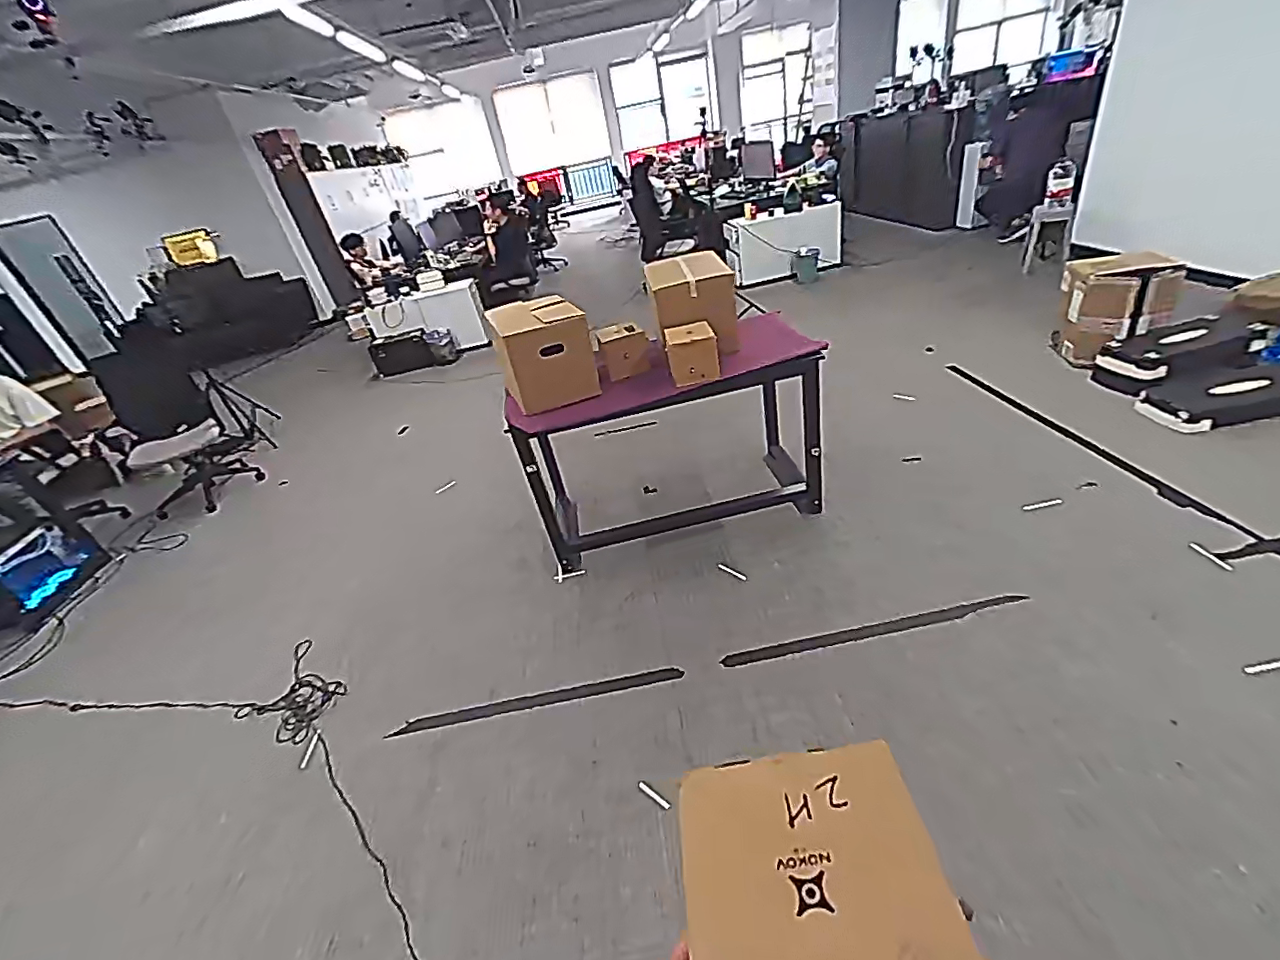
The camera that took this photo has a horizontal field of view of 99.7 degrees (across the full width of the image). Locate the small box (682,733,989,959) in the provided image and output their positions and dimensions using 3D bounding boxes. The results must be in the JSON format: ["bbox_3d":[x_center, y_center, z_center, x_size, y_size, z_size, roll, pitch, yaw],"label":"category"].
[{"bbox_3d":[0.130,0.318,0.383,0.168,0.176,0.179,-12,28,7],"label":"small box"}]
